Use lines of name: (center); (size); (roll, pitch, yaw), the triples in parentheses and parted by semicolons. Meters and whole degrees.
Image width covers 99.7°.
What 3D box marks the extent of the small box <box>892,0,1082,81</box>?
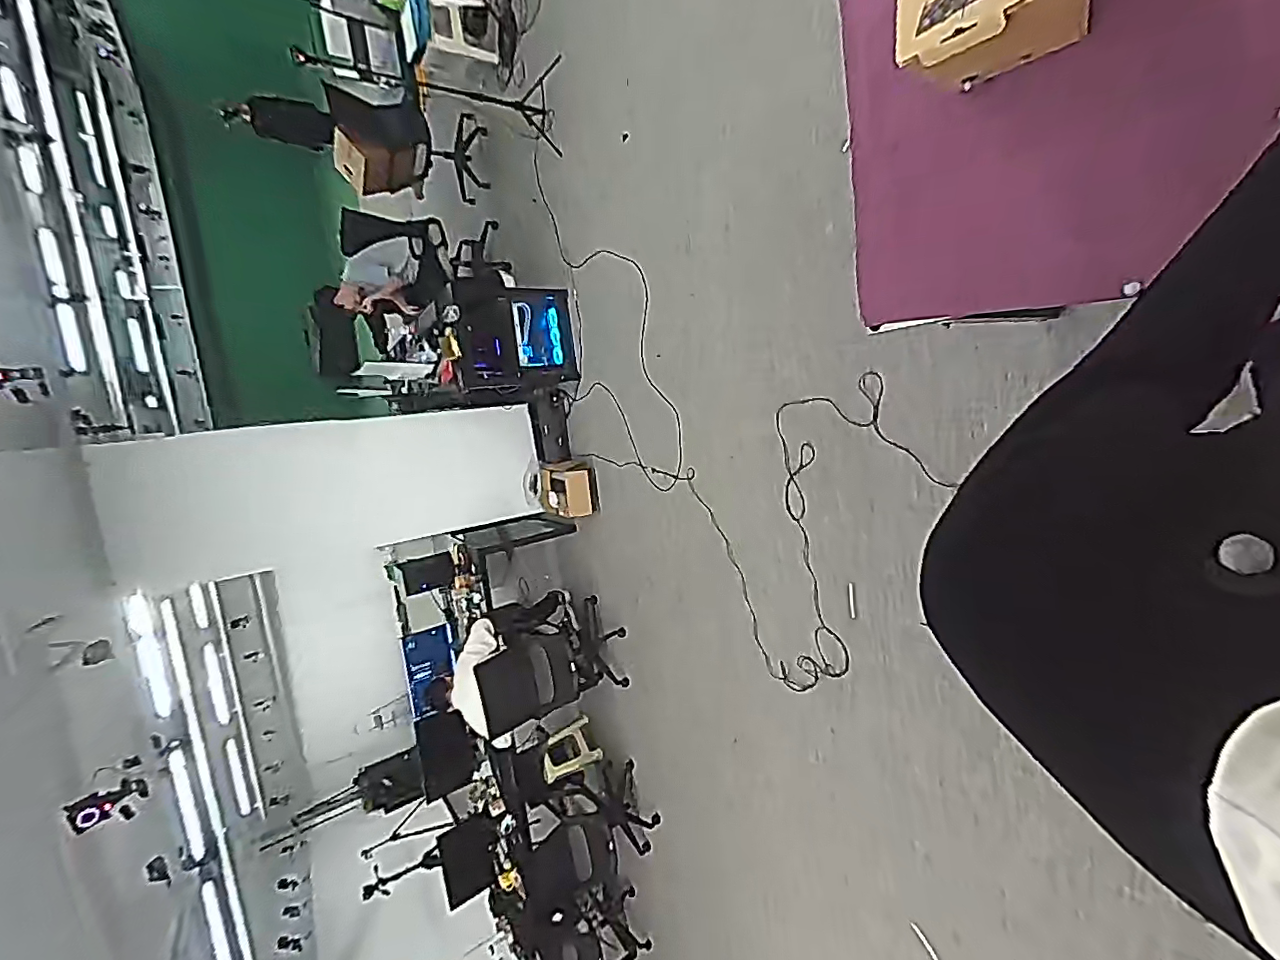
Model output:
small box: (0.453, -0.654, 0.702); (0.168, 0.176, 0.179); (13, 111, 54)
